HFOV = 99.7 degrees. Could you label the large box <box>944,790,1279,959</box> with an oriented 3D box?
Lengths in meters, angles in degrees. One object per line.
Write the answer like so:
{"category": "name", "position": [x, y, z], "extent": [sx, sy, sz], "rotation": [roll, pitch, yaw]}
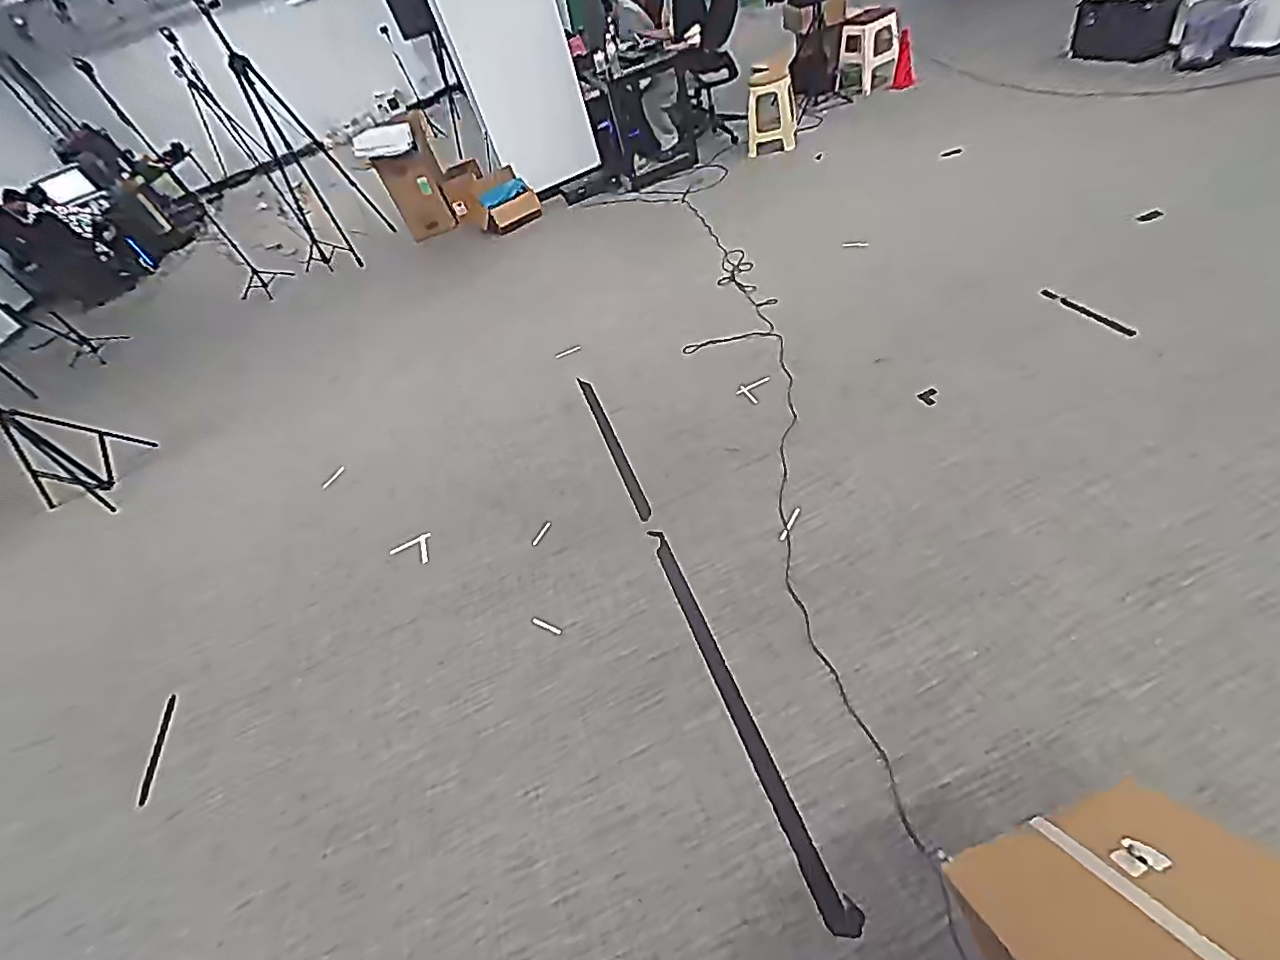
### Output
{"category": "large box", "position": [0.642, 0.632, 0.587], "extent": [0.320, 0.408, 0.320], "rotation": [-23, 82, -1]}
